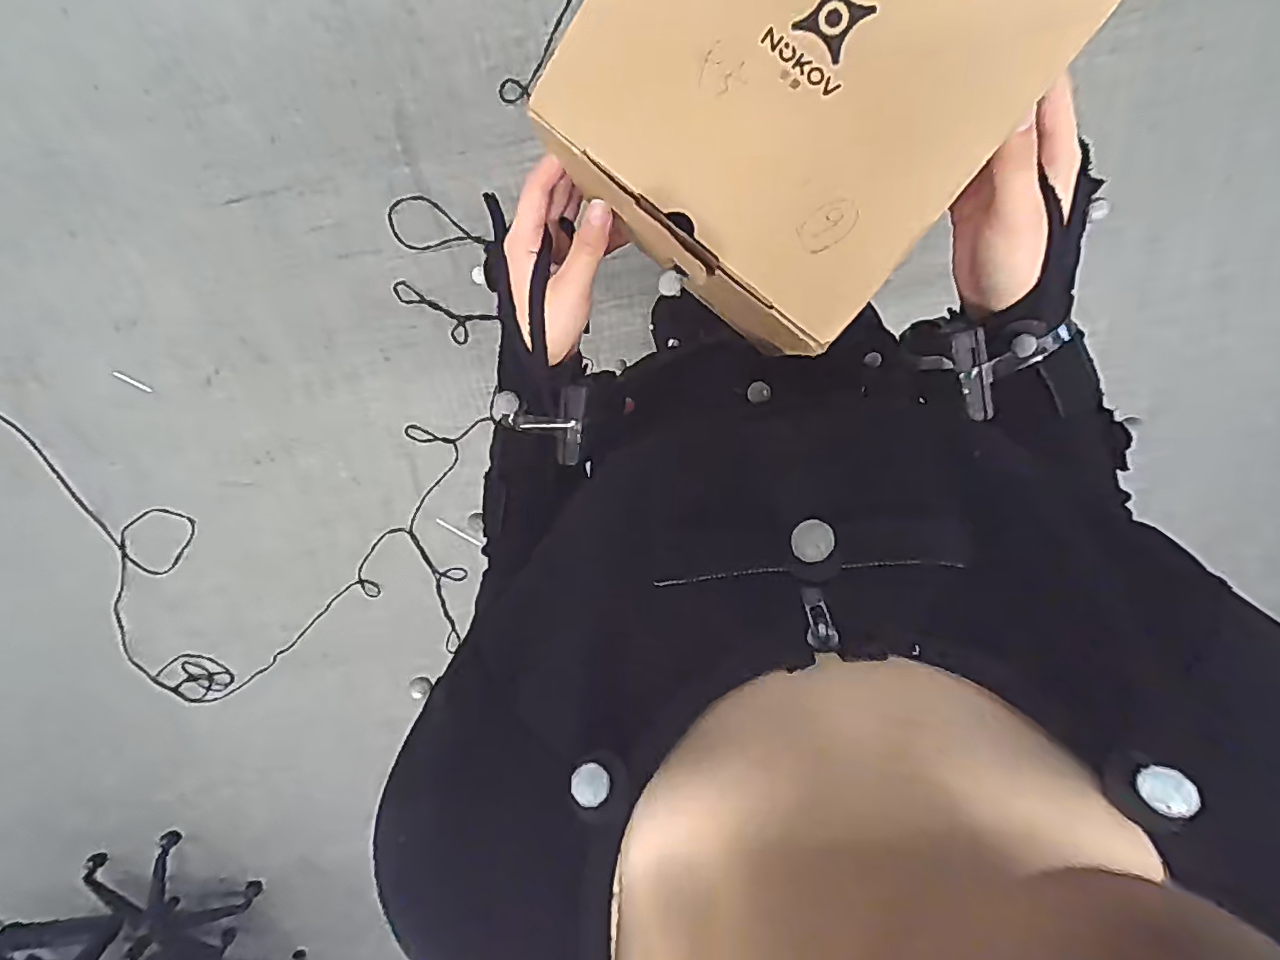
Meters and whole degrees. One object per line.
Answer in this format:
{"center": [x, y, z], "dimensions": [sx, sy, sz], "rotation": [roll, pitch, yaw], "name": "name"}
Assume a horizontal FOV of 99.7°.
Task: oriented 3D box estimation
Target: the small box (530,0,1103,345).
{"center": [0.074, -0.191, 0.298], "dimensions": [0.168, 0.176, 0.179], "rotation": [38, 104, -3], "name": "small box"}
